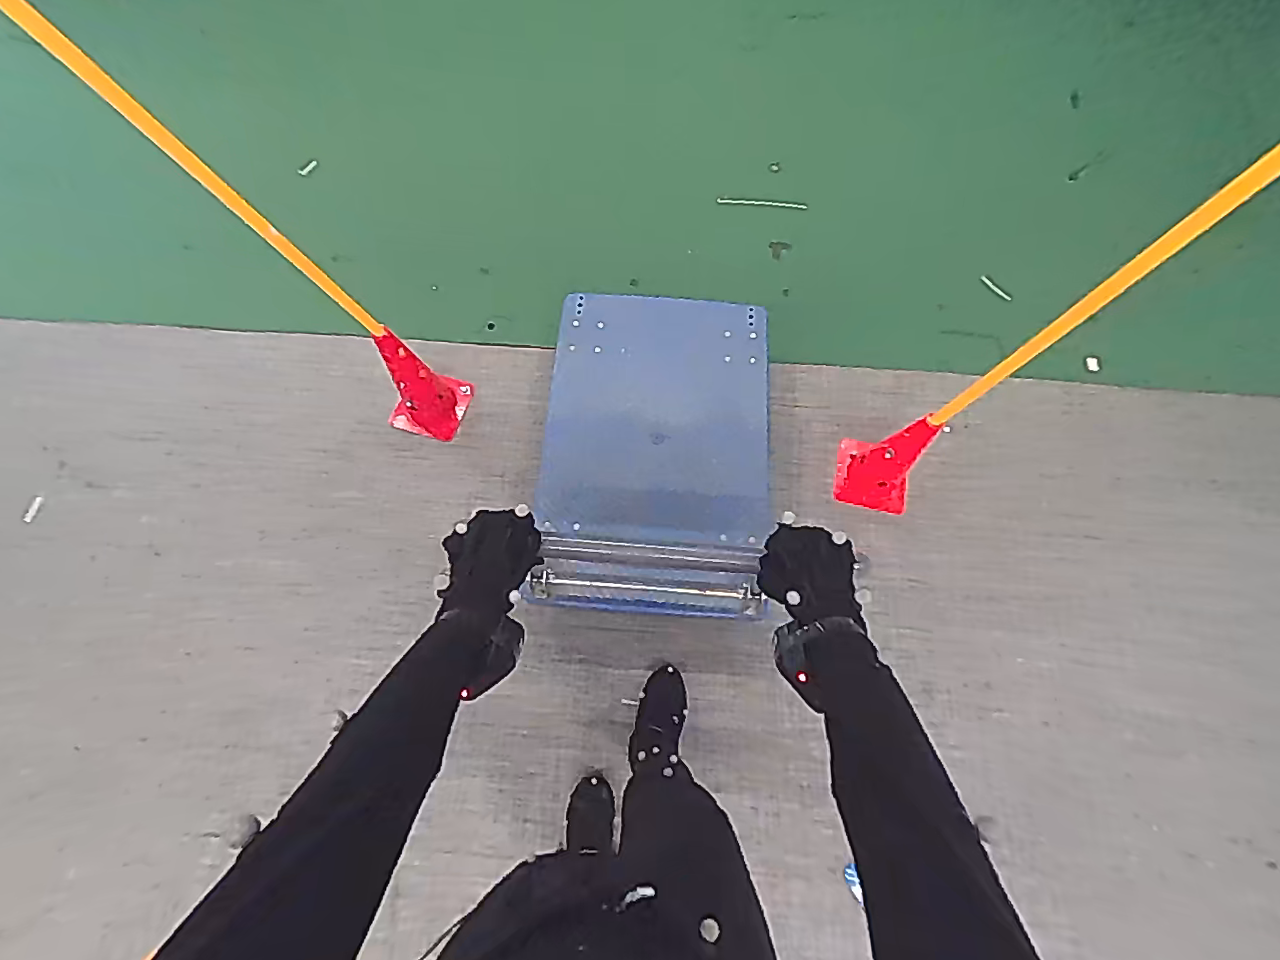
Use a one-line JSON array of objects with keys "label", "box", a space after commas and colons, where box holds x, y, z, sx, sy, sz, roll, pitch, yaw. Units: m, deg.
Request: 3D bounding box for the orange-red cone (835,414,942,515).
[{"label": "orange-red cone", "box": [0.658, -0.068, 1.367, 0.198, 0.360, 0.199, 14, 71, 6]}]
